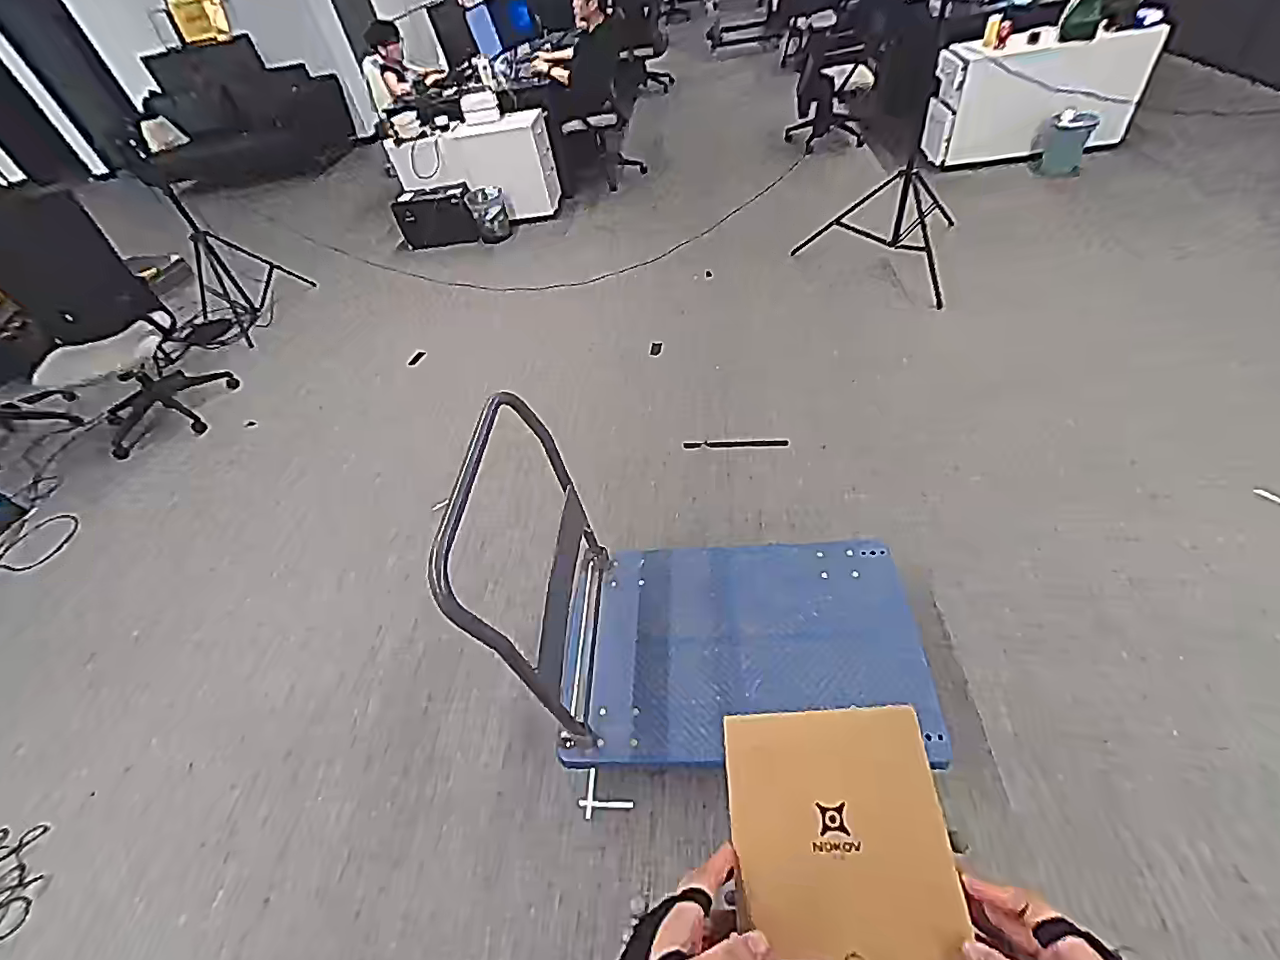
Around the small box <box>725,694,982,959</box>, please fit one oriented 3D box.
[{"bbox_3d":[0.176,0.311,0.493,0.168,0.176,0.179,-10,52,14],"label":"small box"}]
